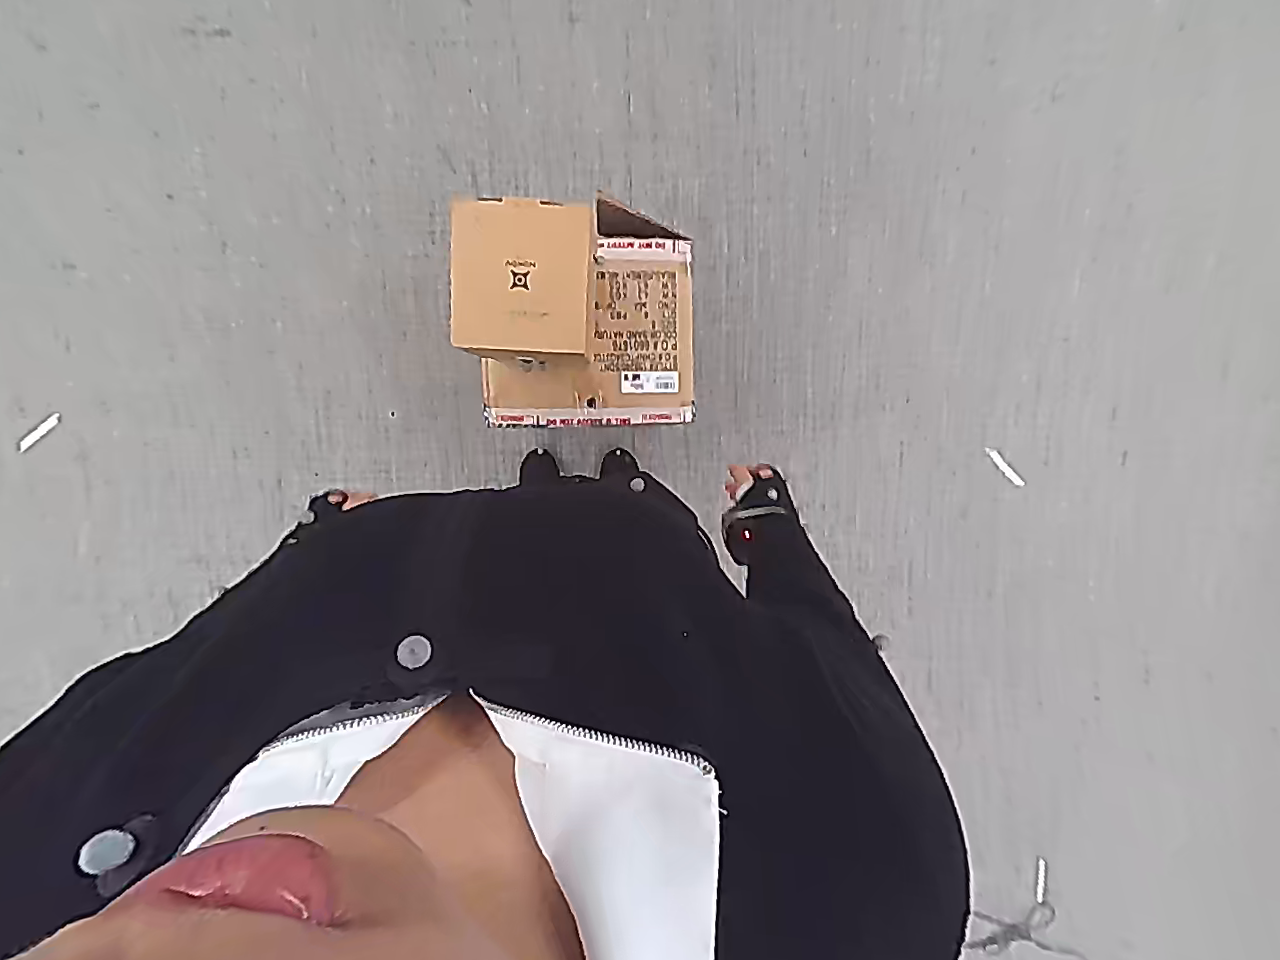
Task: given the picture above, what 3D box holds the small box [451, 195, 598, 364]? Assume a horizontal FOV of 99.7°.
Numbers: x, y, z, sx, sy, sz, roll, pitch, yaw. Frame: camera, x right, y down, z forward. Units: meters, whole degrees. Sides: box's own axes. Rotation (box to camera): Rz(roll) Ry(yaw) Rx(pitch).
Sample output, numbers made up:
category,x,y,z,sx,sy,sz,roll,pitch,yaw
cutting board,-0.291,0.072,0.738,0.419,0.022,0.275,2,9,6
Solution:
category,x,y,z,sx,sy,sz,roll,pitch,yaw
small box,-0.145,-0.254,0.723,0.168,0.176,0.179,2,98,-1
